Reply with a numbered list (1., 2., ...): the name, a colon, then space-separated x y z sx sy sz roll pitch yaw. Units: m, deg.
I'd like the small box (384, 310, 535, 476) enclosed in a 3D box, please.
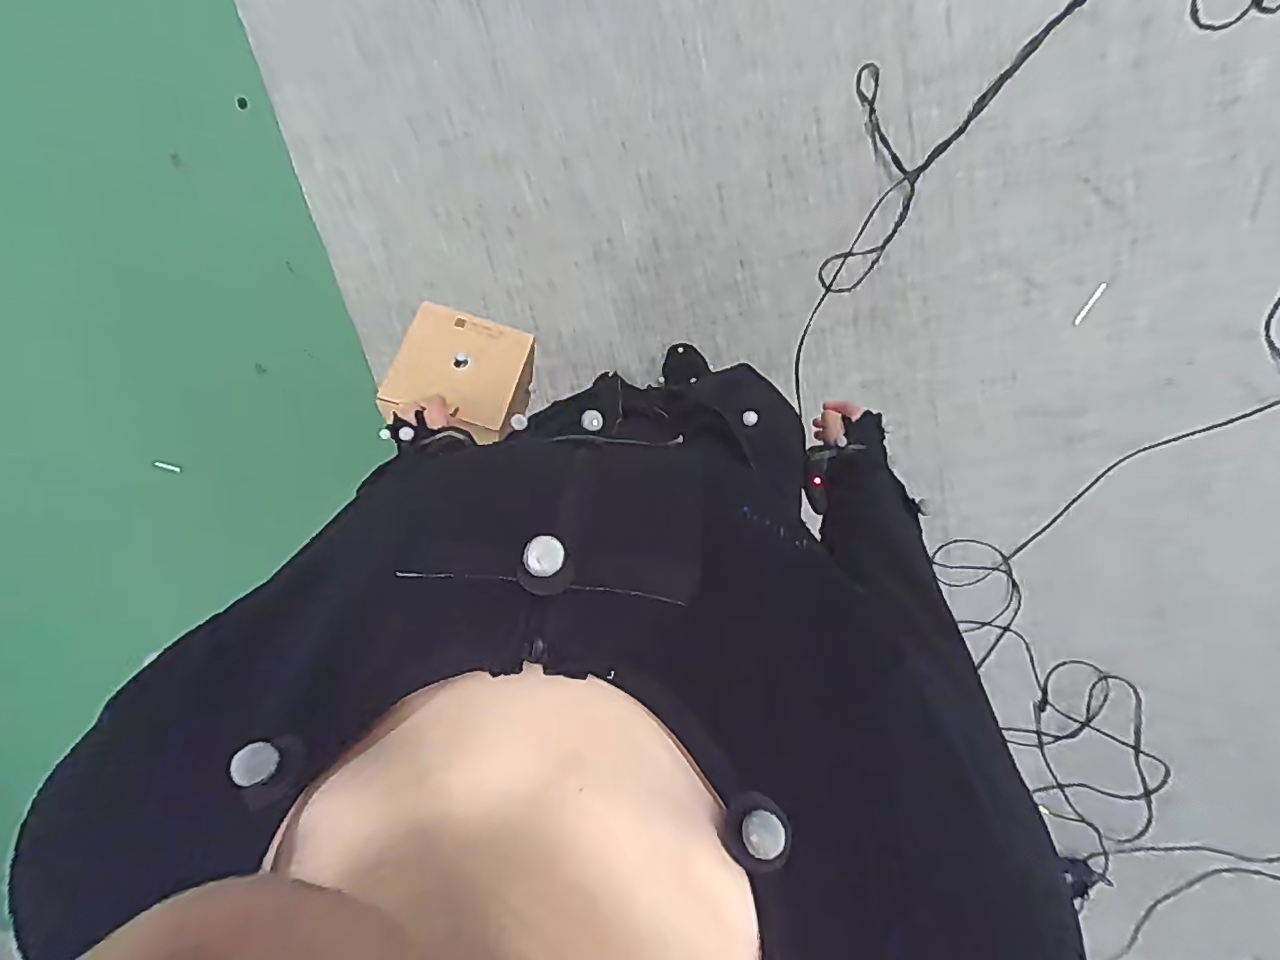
1. small box: -0.262 -0.128 0.823 0.168 0.179 0.176 14 69 -7
